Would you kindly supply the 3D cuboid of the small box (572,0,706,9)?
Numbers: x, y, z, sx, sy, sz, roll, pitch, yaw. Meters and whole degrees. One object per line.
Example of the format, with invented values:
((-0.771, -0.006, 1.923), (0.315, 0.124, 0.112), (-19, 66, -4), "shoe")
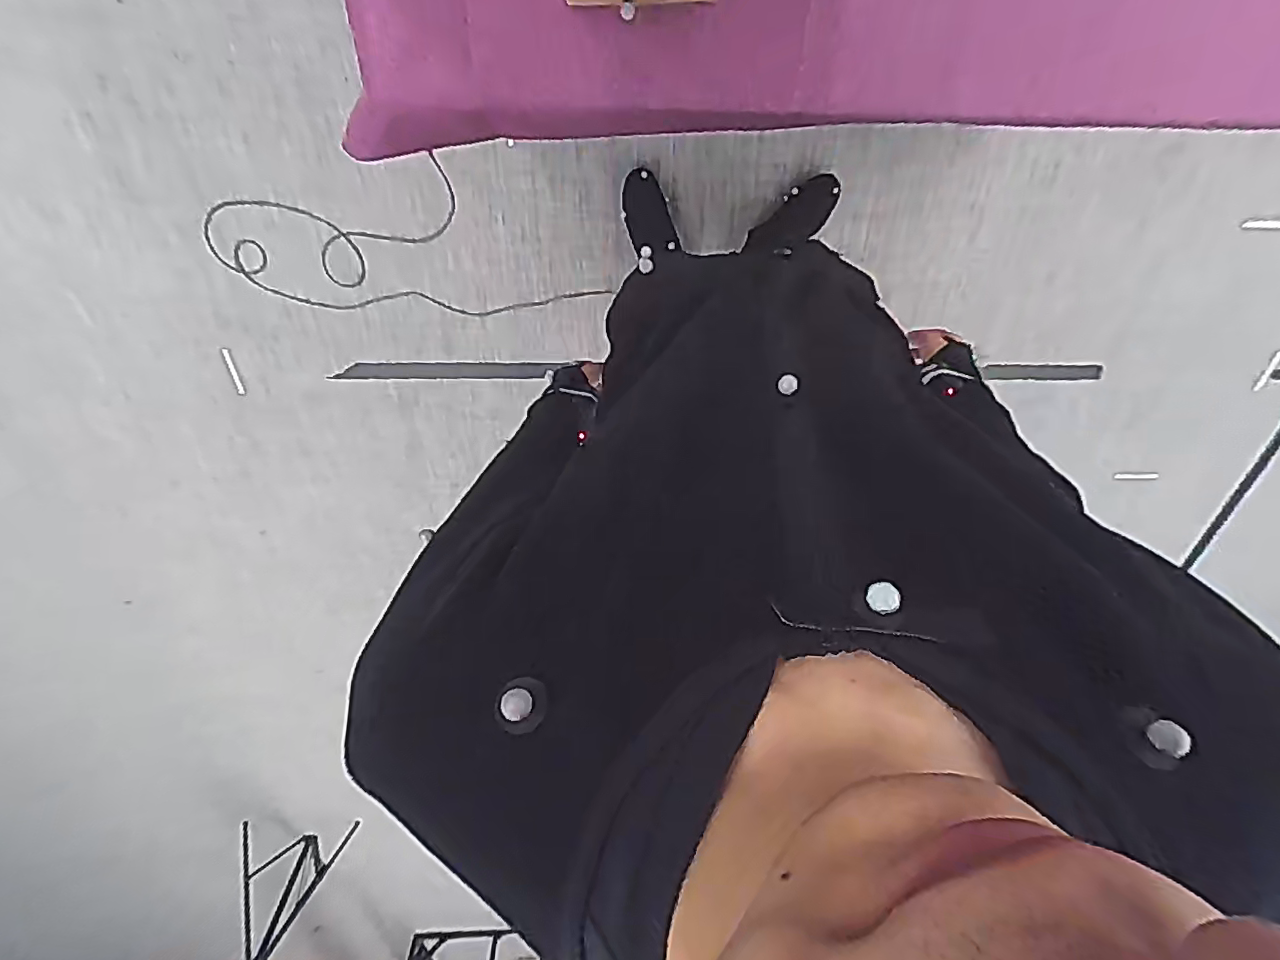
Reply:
((-0.002, -0.546, 0.476), (0.168, 0.176, 0.179), (-3, 124, 0), "small box")
